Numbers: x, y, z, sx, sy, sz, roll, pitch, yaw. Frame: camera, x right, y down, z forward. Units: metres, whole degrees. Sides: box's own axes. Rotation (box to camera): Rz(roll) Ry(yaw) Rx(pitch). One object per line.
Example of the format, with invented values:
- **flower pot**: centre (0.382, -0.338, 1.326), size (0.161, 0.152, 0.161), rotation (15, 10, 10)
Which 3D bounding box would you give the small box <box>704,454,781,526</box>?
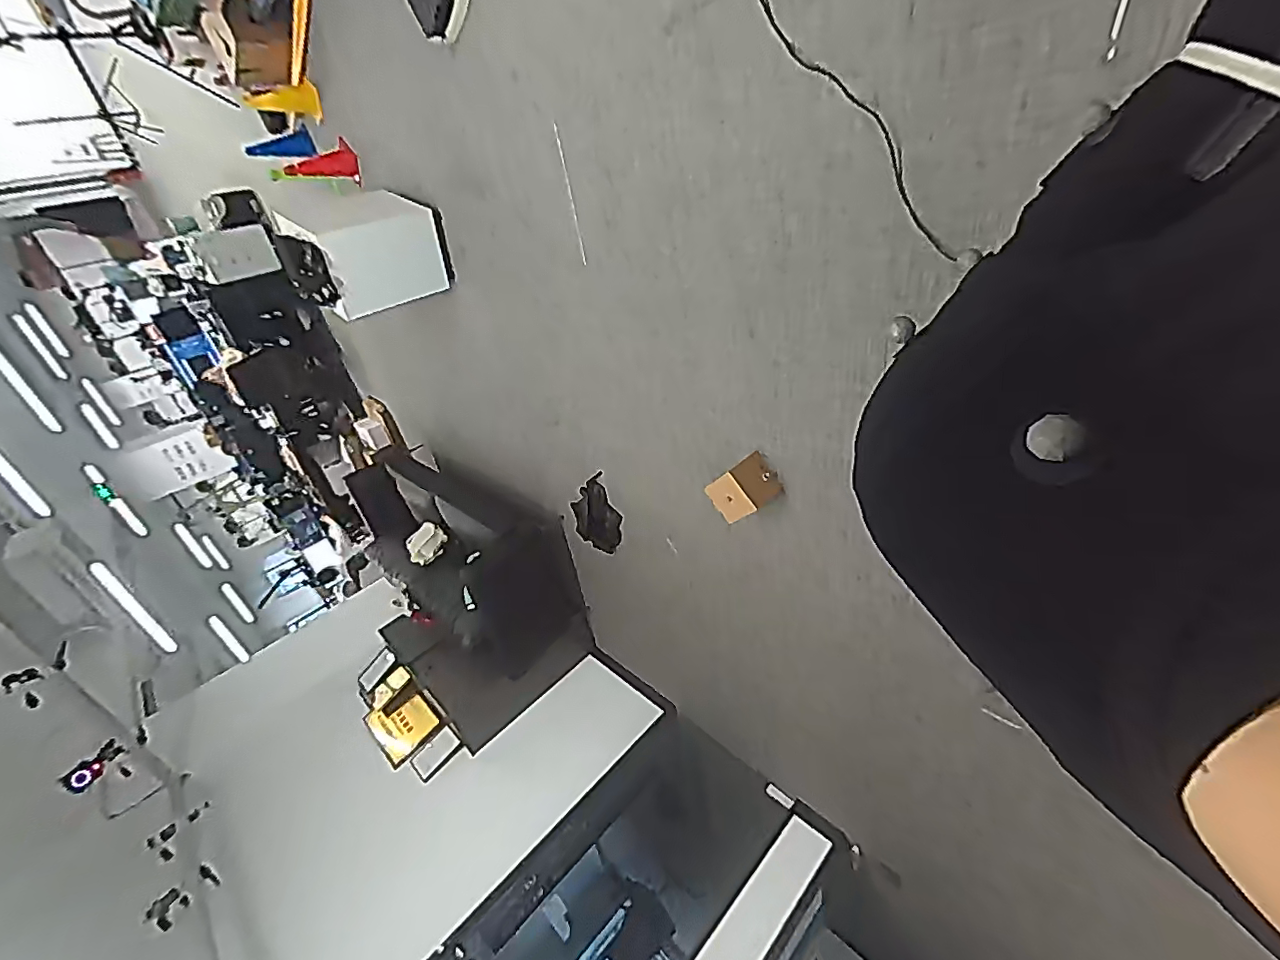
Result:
- **small box**: centre (0.371, 0.036, 1.941), size (0.168, 0.176, 0.179), rotation (53, 147, 3)
